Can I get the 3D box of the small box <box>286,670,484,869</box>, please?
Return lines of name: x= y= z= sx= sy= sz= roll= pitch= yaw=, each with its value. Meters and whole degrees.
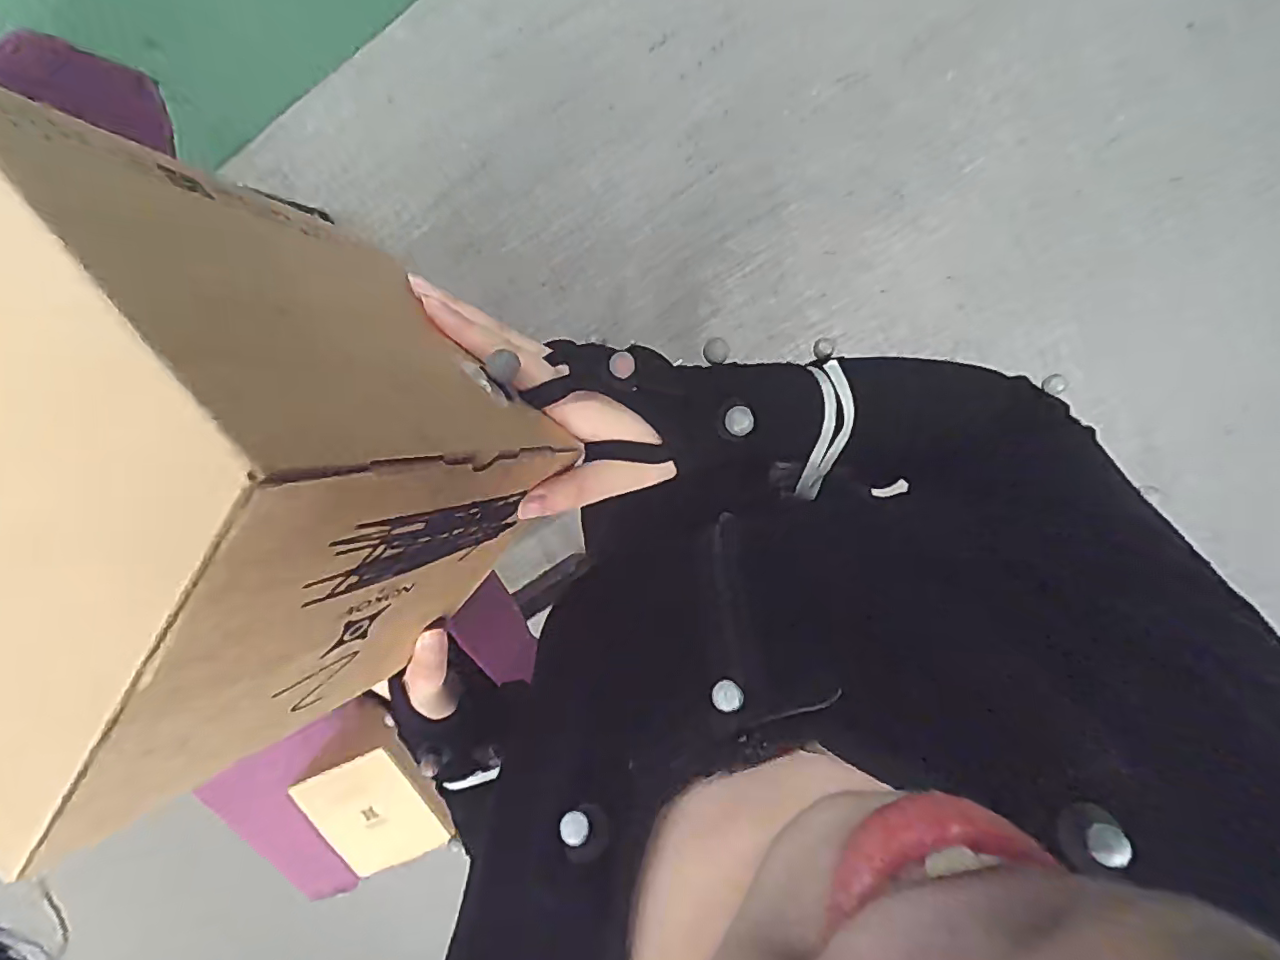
small box: x=-0.363 y=0.424 z=0.810 sx=0.168 sy=0.176 sz=0.179 roll=-26 pitch=103 yaw=10

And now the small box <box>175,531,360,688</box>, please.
small box: x=-0.540 y=0.190 z=0.748 sx=0.168 sy=0.176 sz=0.179 roll=-30 pitch=103 yaw=12
